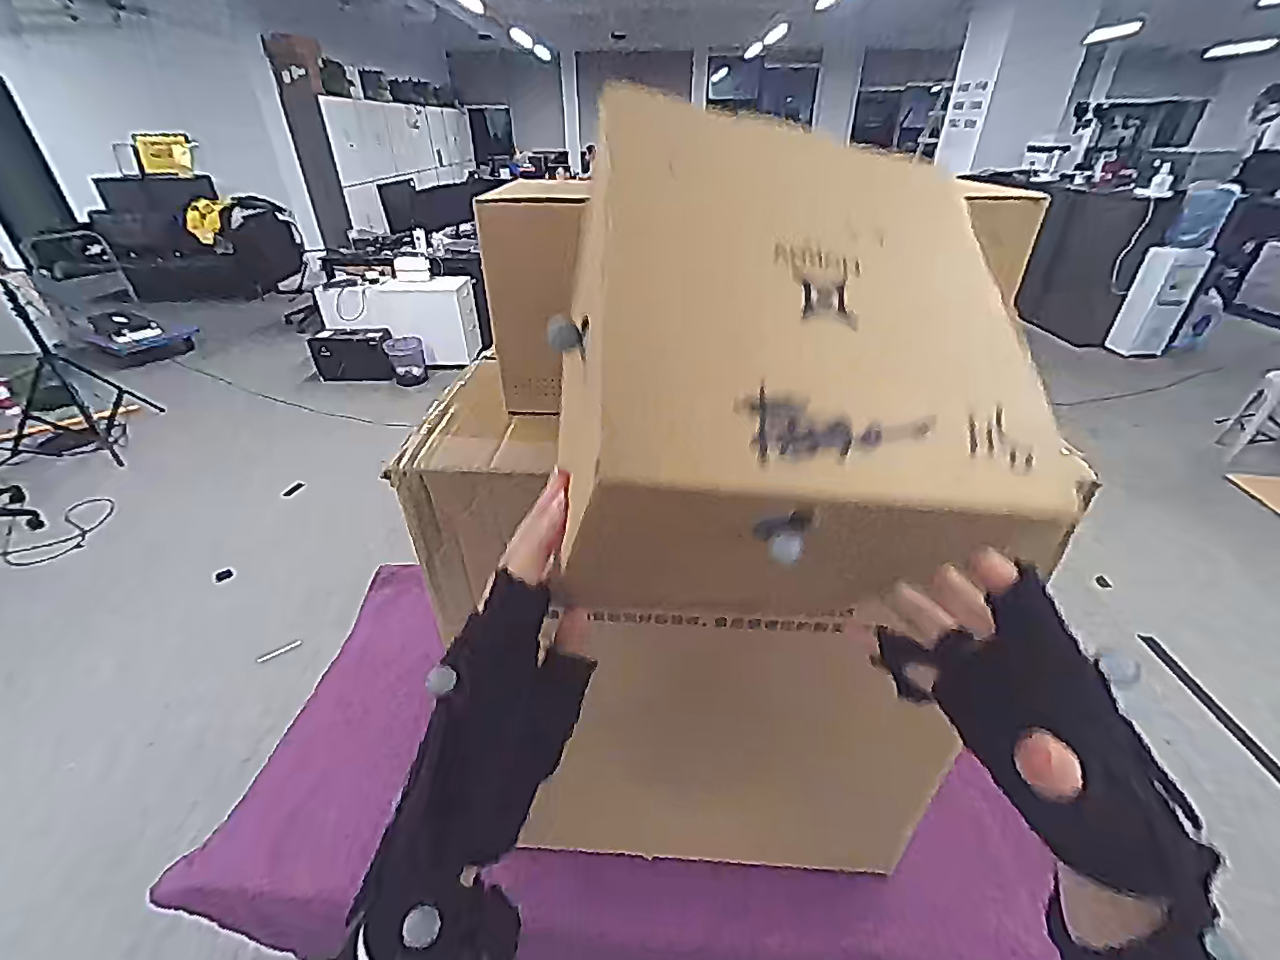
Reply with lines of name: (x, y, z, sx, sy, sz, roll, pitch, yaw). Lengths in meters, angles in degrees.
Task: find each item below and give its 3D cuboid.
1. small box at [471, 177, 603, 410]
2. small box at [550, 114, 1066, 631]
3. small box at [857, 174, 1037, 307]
small box: (-0.032, -0.169, 0.487, 0.179, 0.176, 0.168, 0, 32, 0)
small box: (0.047, -0.033, 0.273, 0.168, 0.176, 0.179, 6, 63, -11)
small box: (0.191, -0.170, 0.482, 0.179, 0.176, 0.168, -1, 33, 0)
